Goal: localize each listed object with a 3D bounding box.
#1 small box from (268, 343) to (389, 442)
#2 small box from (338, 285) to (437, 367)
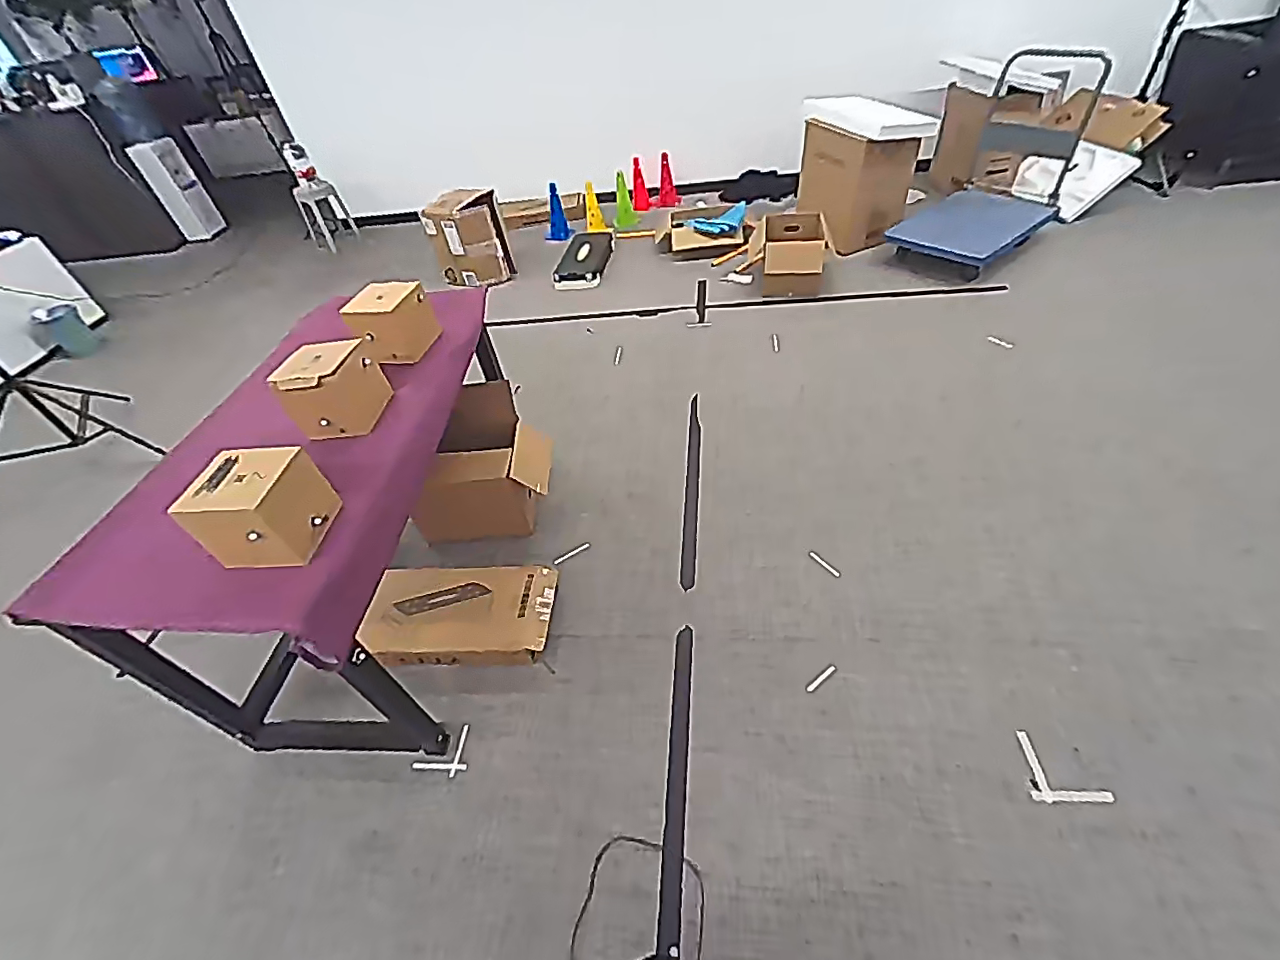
[{"bbox_3d":[-0.752,-0.215,1.333,0.168,0.176,0.179,-5,44,8],"label":"small box"},{"bbox_3d":[-0.714,-0.439,1.556,0.168,0.176,0.179,2,45,12],"label":"small box"}]
